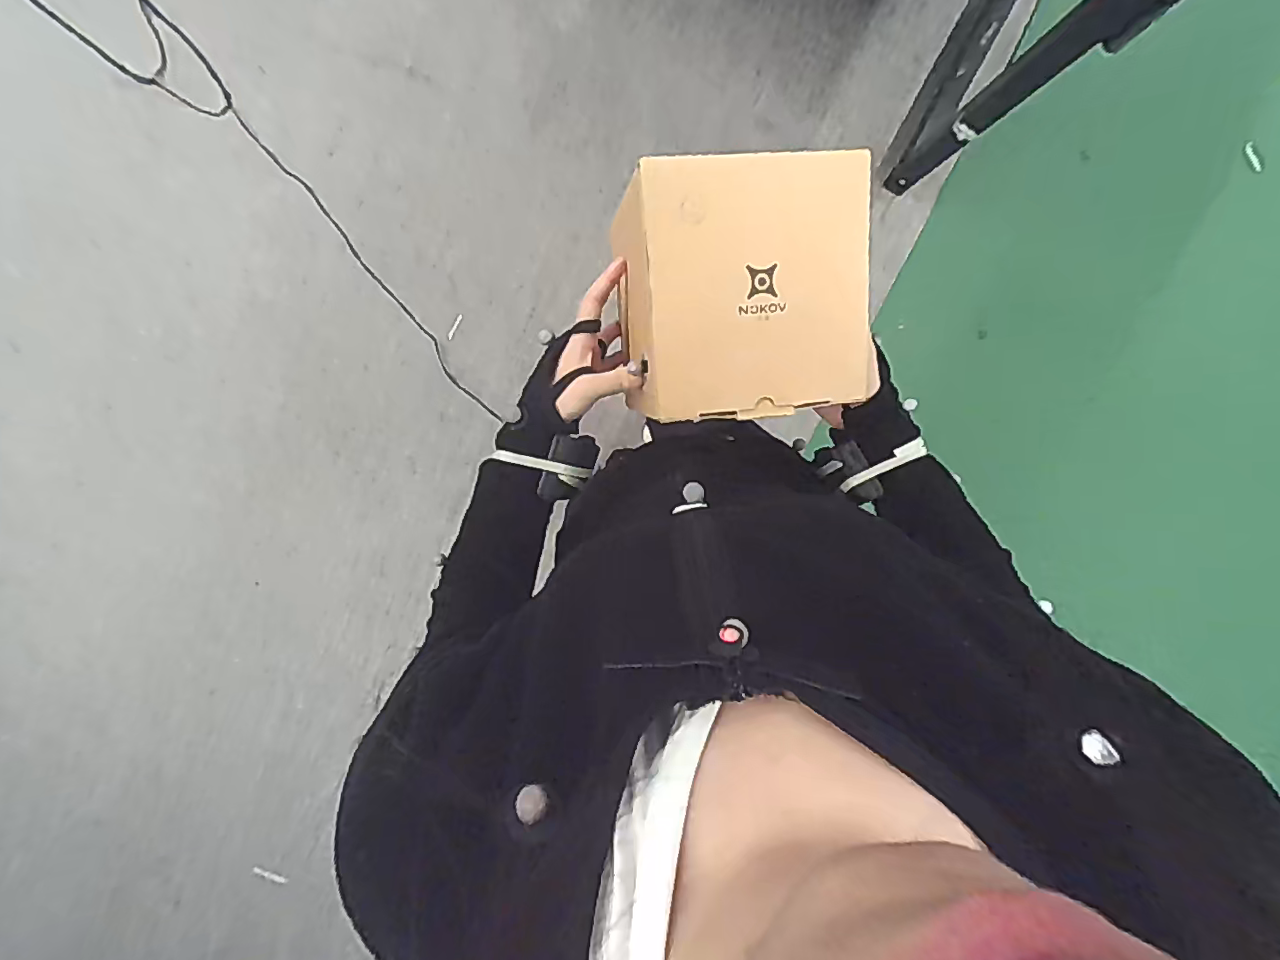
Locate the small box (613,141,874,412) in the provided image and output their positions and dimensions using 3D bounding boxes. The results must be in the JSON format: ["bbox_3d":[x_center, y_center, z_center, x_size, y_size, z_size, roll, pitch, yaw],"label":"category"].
[{"bbox_3d":[0.073,-0.157,0.456,0.168,0.176,0.179,-7,104,-9],"label":"small box"}]
